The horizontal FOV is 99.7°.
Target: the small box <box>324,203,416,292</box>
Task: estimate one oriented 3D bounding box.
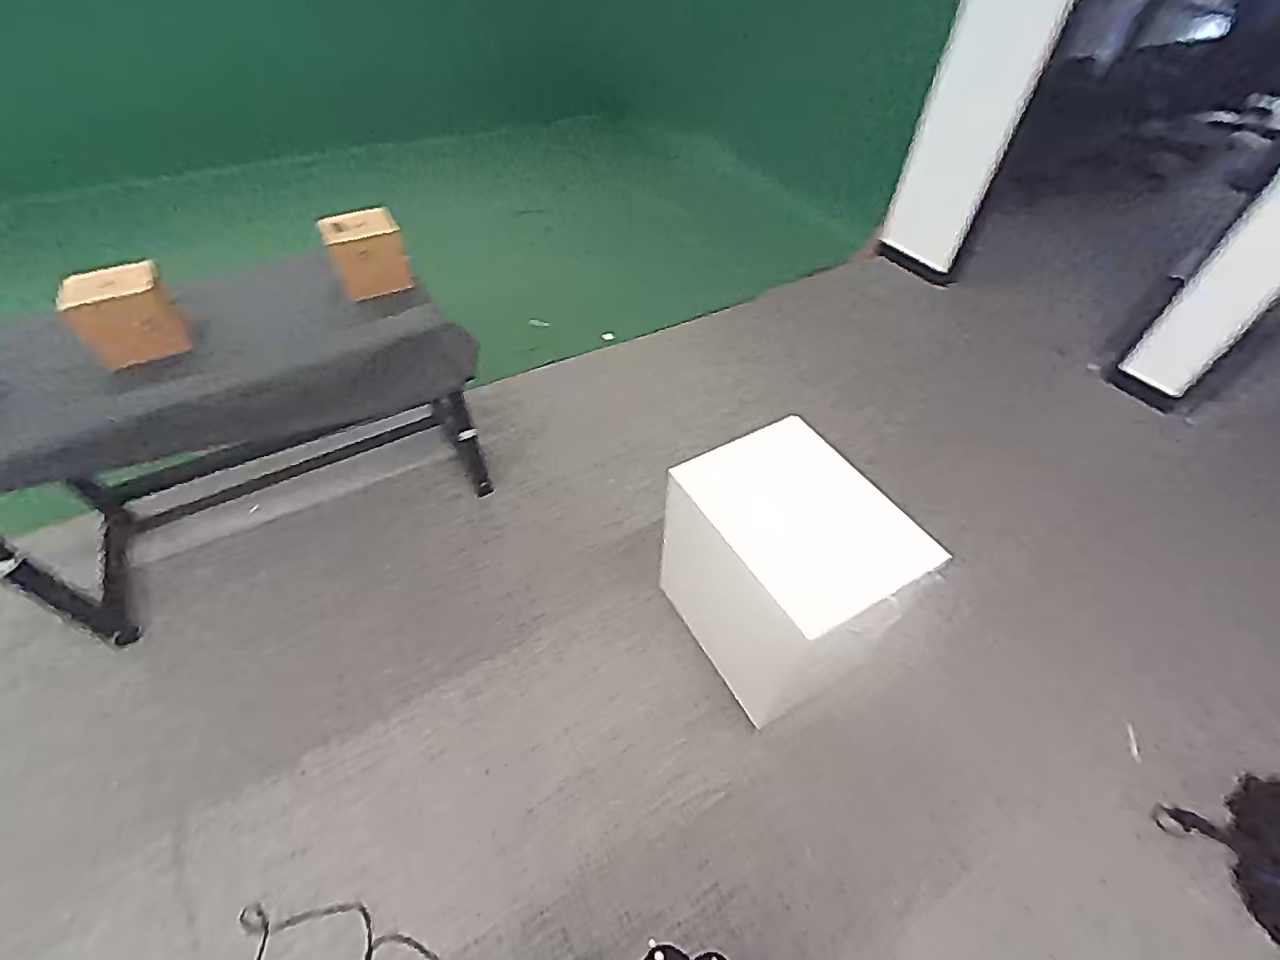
[{"bbox_3d":[-0.754,-0.650,1.518,0.179,0.176,0.168,-21,53,-21],"label":"small box"}]

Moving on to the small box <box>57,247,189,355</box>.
[{"bbox_3d":[-1.227,-0.429,1.301,0.179,0.176,0.168,-23,52,-20],"label":"small box"}]
